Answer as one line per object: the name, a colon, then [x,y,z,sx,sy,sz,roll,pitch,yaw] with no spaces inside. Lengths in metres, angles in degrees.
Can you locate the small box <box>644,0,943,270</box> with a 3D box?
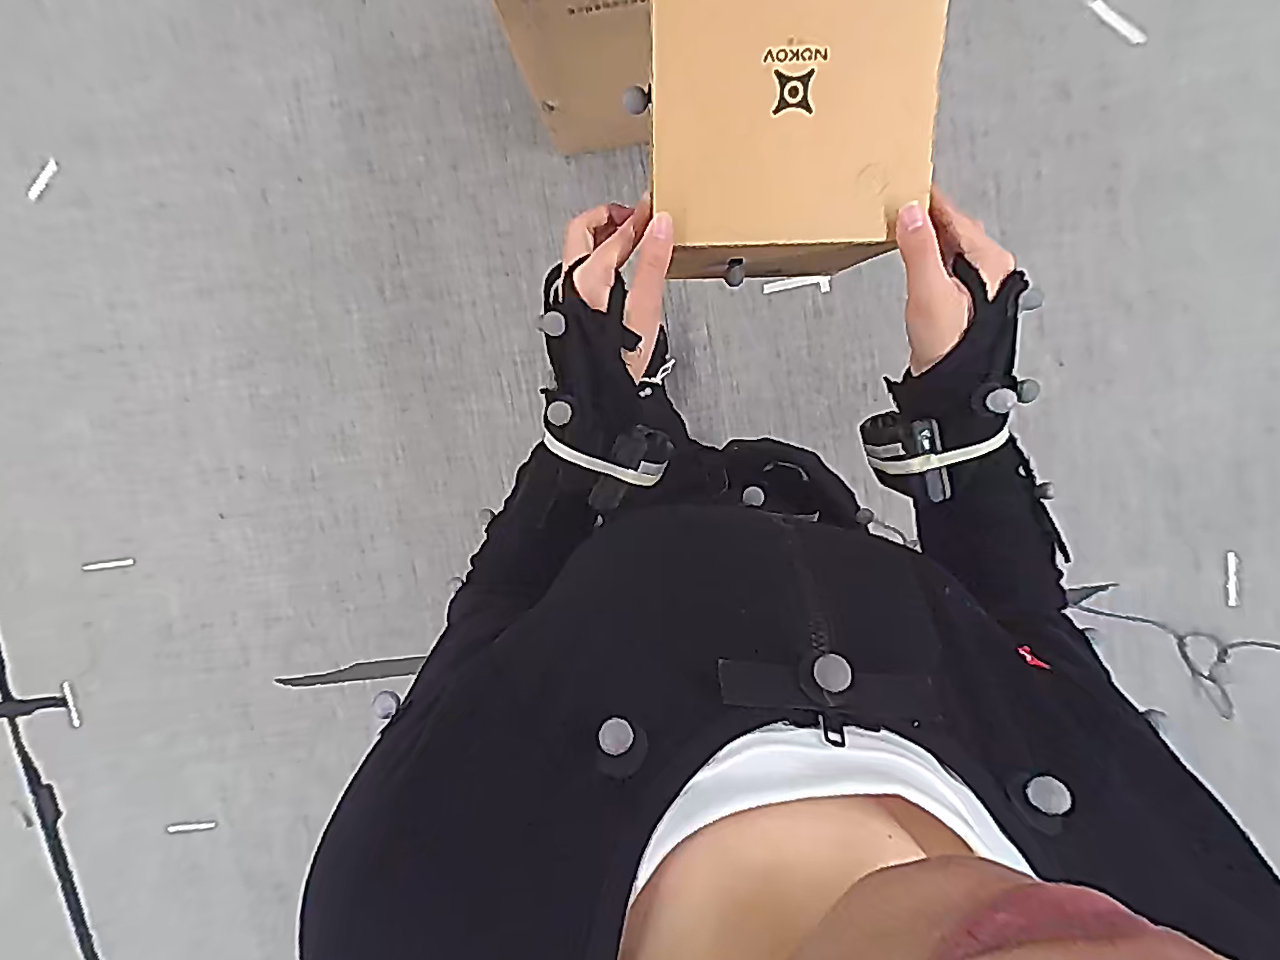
small box: [0.088,-0.250,0.385,0.168,0.176,0.179,-1,102,2]
